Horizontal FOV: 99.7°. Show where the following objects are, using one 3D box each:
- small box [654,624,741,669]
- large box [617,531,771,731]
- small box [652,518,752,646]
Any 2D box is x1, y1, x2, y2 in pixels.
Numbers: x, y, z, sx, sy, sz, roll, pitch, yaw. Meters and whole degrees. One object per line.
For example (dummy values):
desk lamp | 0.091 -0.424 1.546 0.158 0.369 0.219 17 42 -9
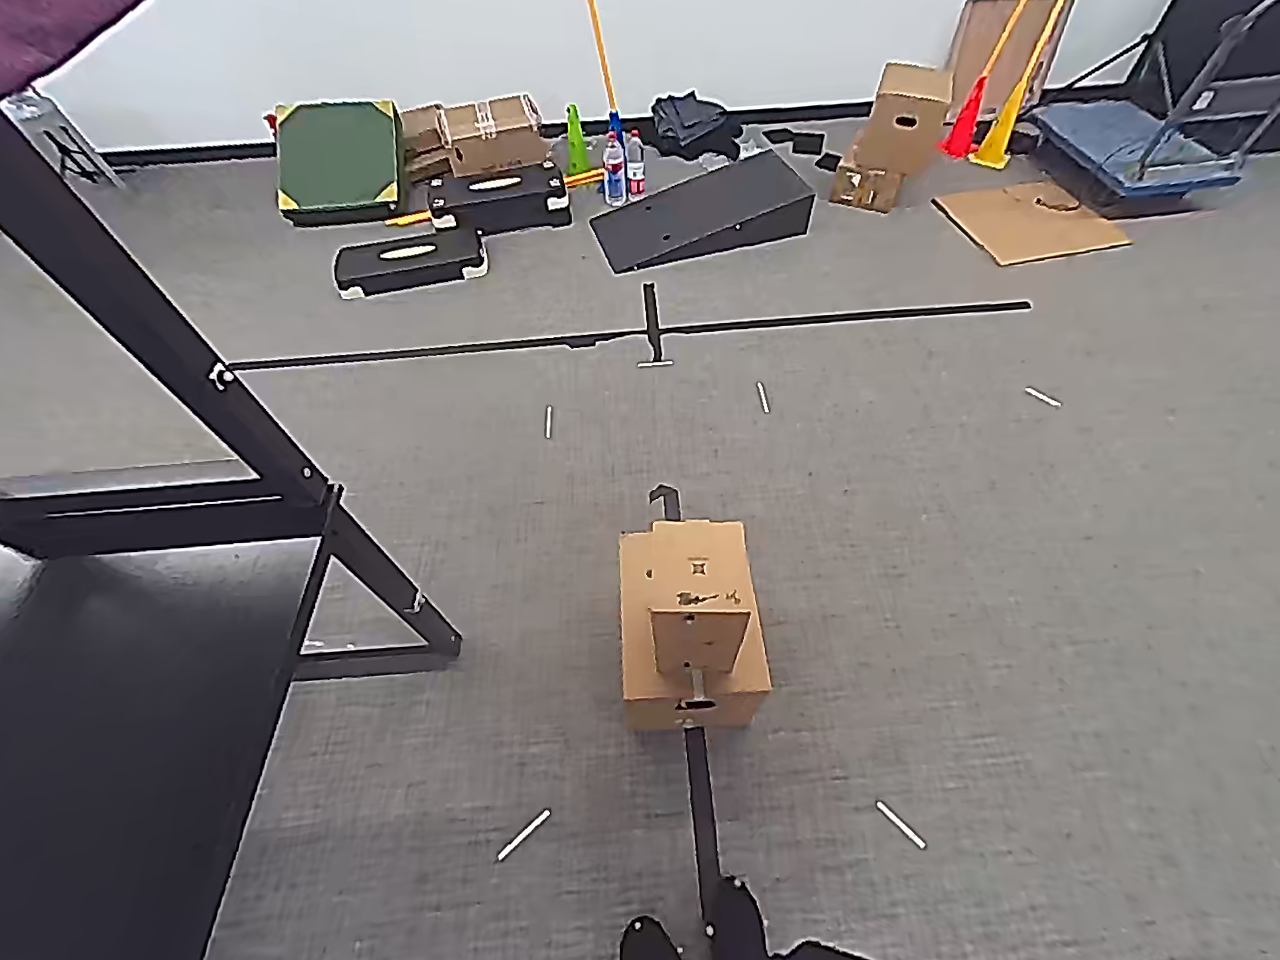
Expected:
small box | 0.113 0.280 1.124 0.168 0.176 0.179 -1 55 3
large box | 0.114 0.373 1.358 0.320 0.320 0.408 -3 53 -1
small box | 0.108 0.187 0.989 0.168 0.176 0.179 0 53 4
